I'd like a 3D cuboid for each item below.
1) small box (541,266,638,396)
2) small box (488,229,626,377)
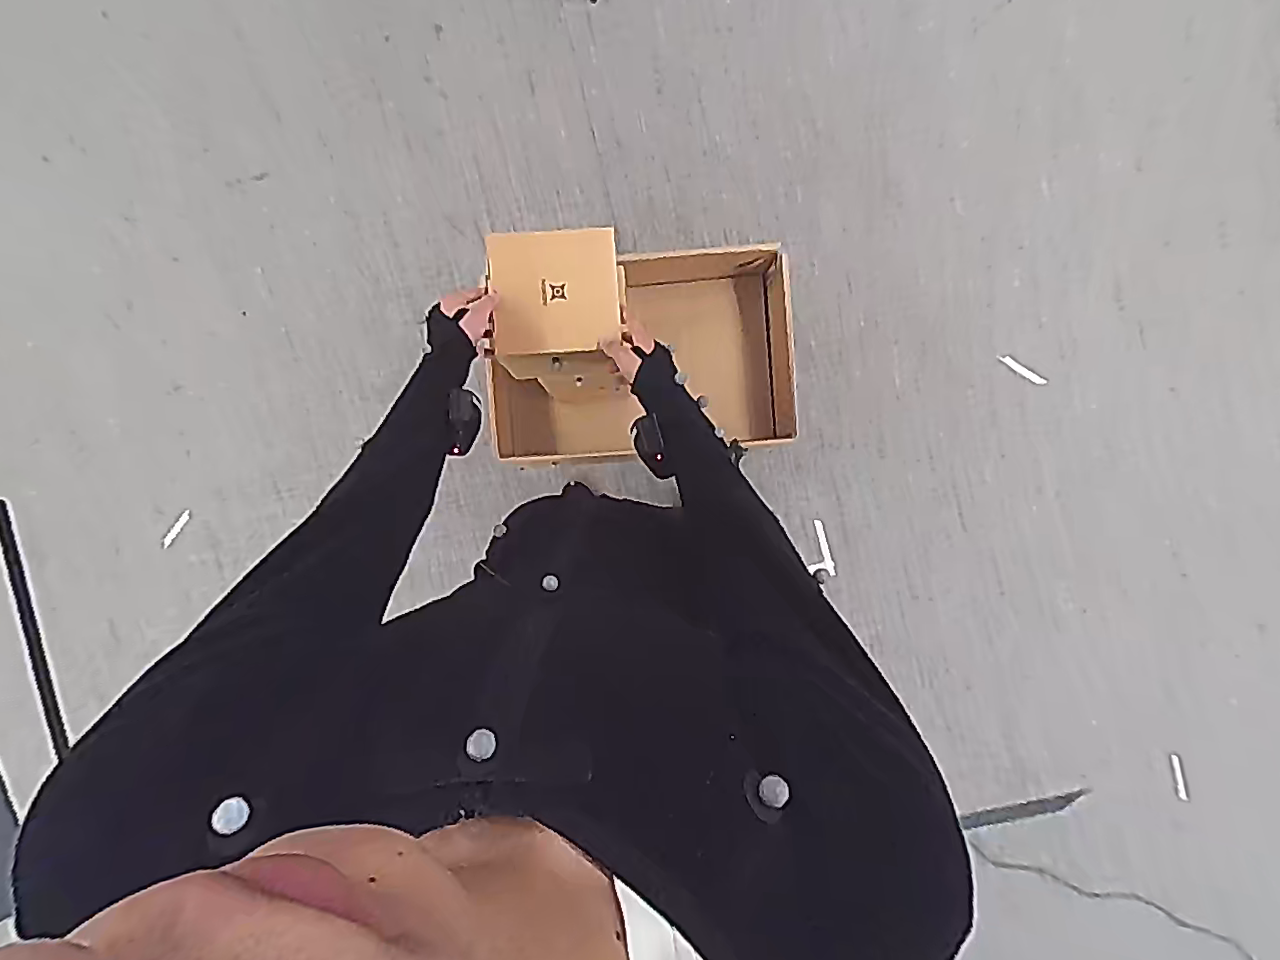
[{"bbox_3d":[-0.096,-0.258,0.968,0.168,0.176,0.179,-7,90,-2],"label":"small box"},{"bbox_3d":[-0.115,-0.253,0.804,0.179,0.176,0.168,-5,91,-2],"label":"small box"}]
